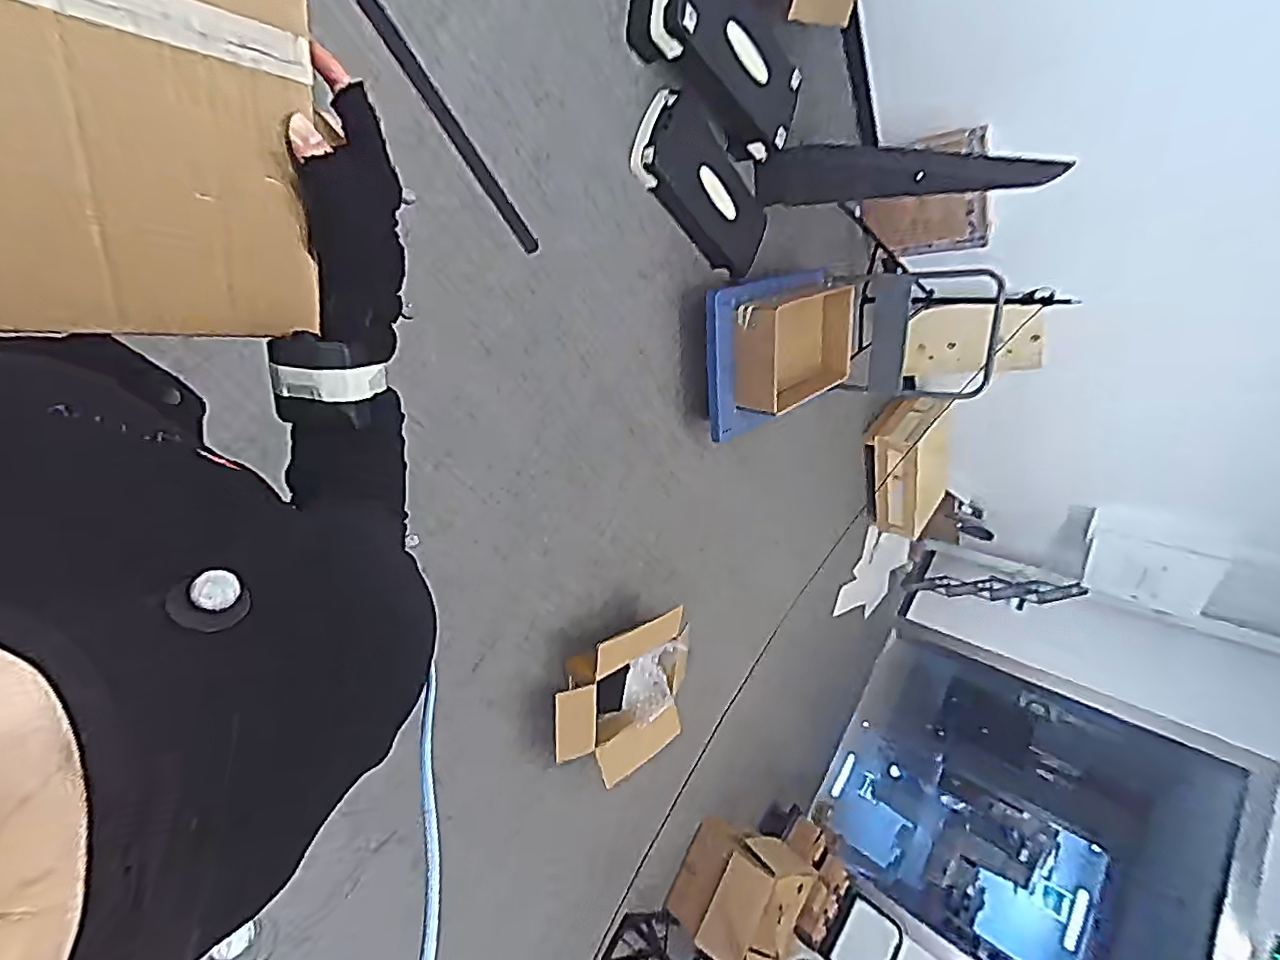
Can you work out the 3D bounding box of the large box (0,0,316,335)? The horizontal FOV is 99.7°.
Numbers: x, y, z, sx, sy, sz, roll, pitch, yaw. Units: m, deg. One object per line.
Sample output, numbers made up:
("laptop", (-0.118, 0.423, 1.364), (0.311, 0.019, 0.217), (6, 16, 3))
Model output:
("large box", (-0.439, -0.275, 0.274), (0.408, 0.320, 0.320), (-12, 129, -41))
